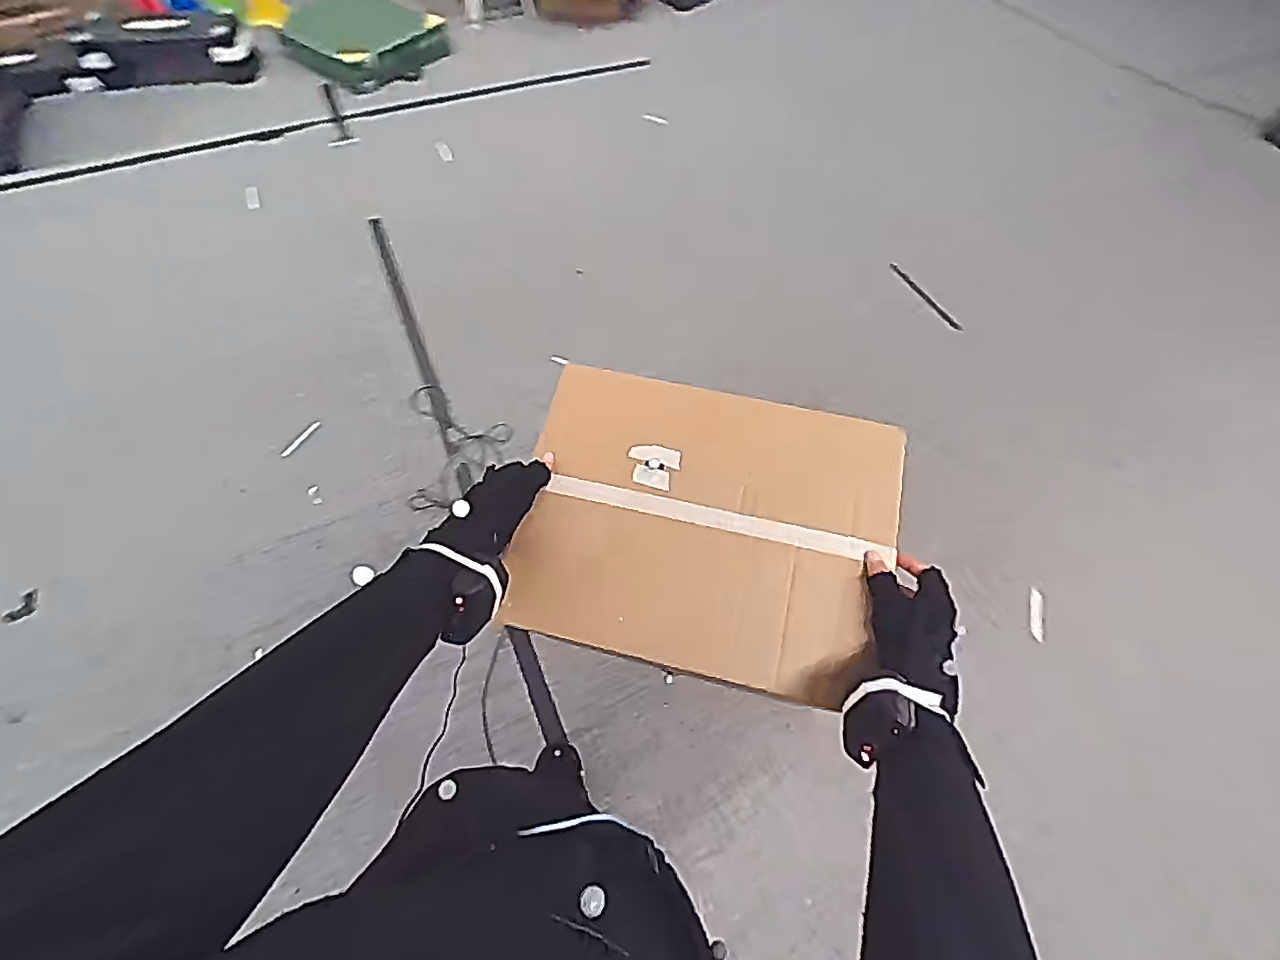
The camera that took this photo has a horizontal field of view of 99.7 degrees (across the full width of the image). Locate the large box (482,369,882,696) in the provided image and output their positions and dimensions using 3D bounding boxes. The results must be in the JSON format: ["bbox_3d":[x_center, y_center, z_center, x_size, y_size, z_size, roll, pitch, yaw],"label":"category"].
[{"bbox_3d":[0.066,0.087,0.738,0.408,0.320,0.320,11,70,8],"label":"large box"}]
